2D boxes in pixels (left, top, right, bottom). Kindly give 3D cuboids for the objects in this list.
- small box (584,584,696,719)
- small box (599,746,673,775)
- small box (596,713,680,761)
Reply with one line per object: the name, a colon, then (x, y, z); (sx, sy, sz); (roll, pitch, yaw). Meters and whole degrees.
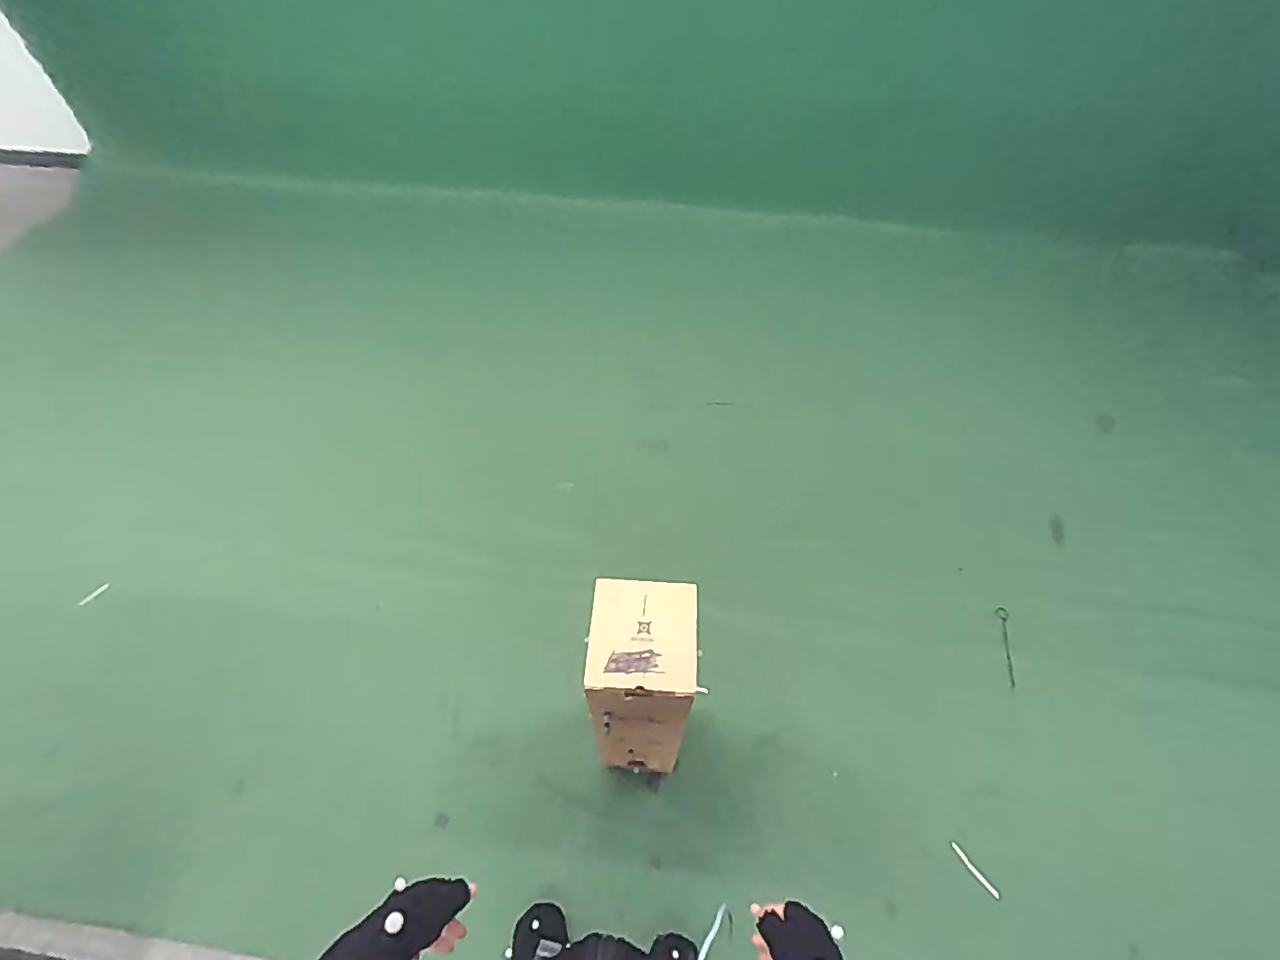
small box: (0.002, 0.285, 0.886); (0.168, 0.176, 0.179); (1, 55, 0)
small box: (-0.002, 0.579, 1.280); (0.168, 0.176, 0.179); (5, 54, 4)
small box: (-0.001, 0.482, 1.150); (0.168, 0.176, 0.179); (4, 55, 2)
